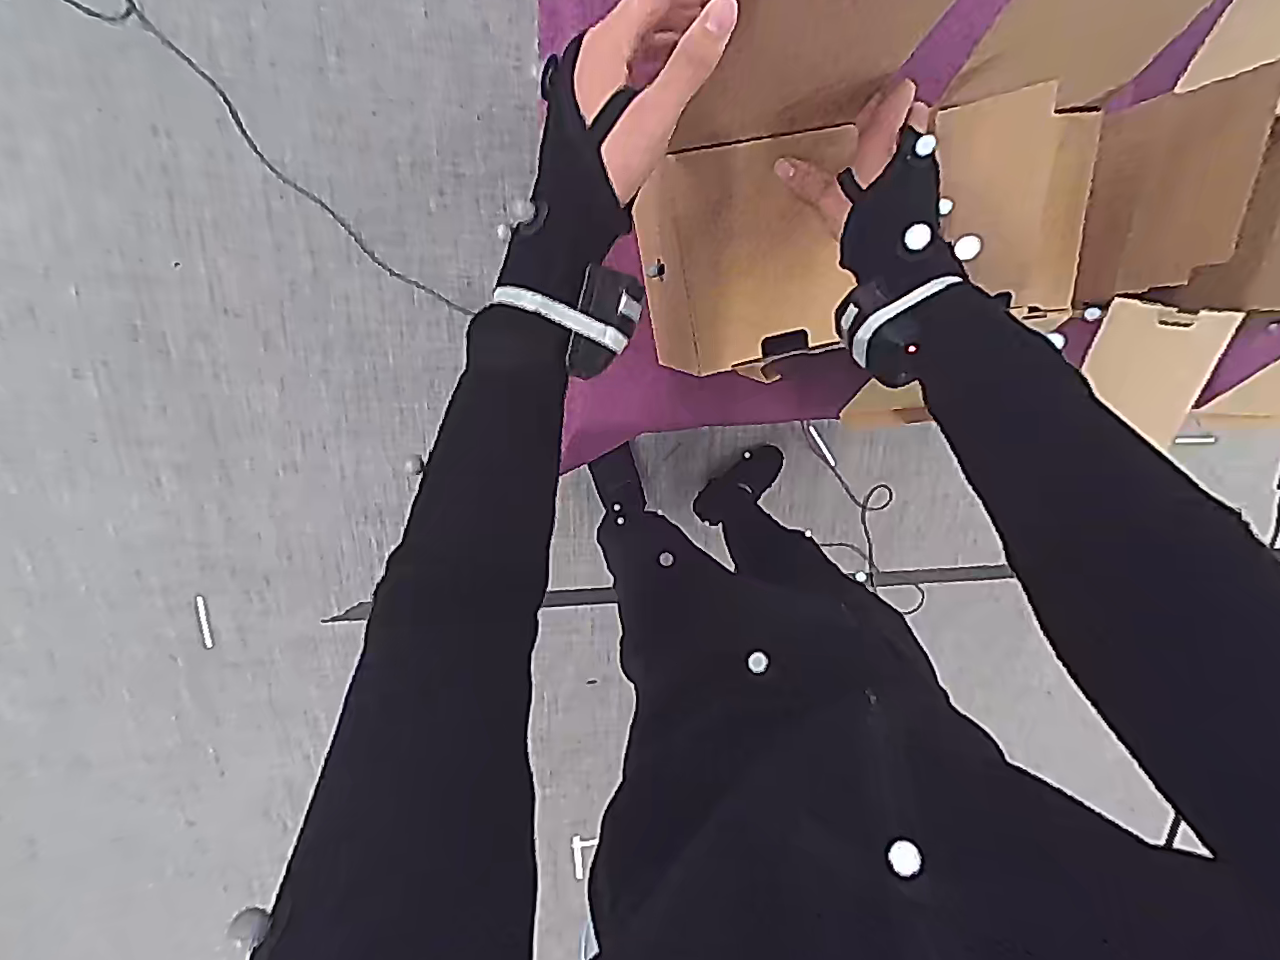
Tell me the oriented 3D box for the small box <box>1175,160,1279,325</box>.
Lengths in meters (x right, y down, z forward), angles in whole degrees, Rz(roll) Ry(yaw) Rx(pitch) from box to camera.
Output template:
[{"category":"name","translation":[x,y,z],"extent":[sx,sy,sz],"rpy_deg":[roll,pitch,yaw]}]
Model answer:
[{"category":"small box","translation":[0.801,-0.280,0.638],"extent":[0.168,0.176,0.179],"rpy_deg":[0,105,-10]}]
